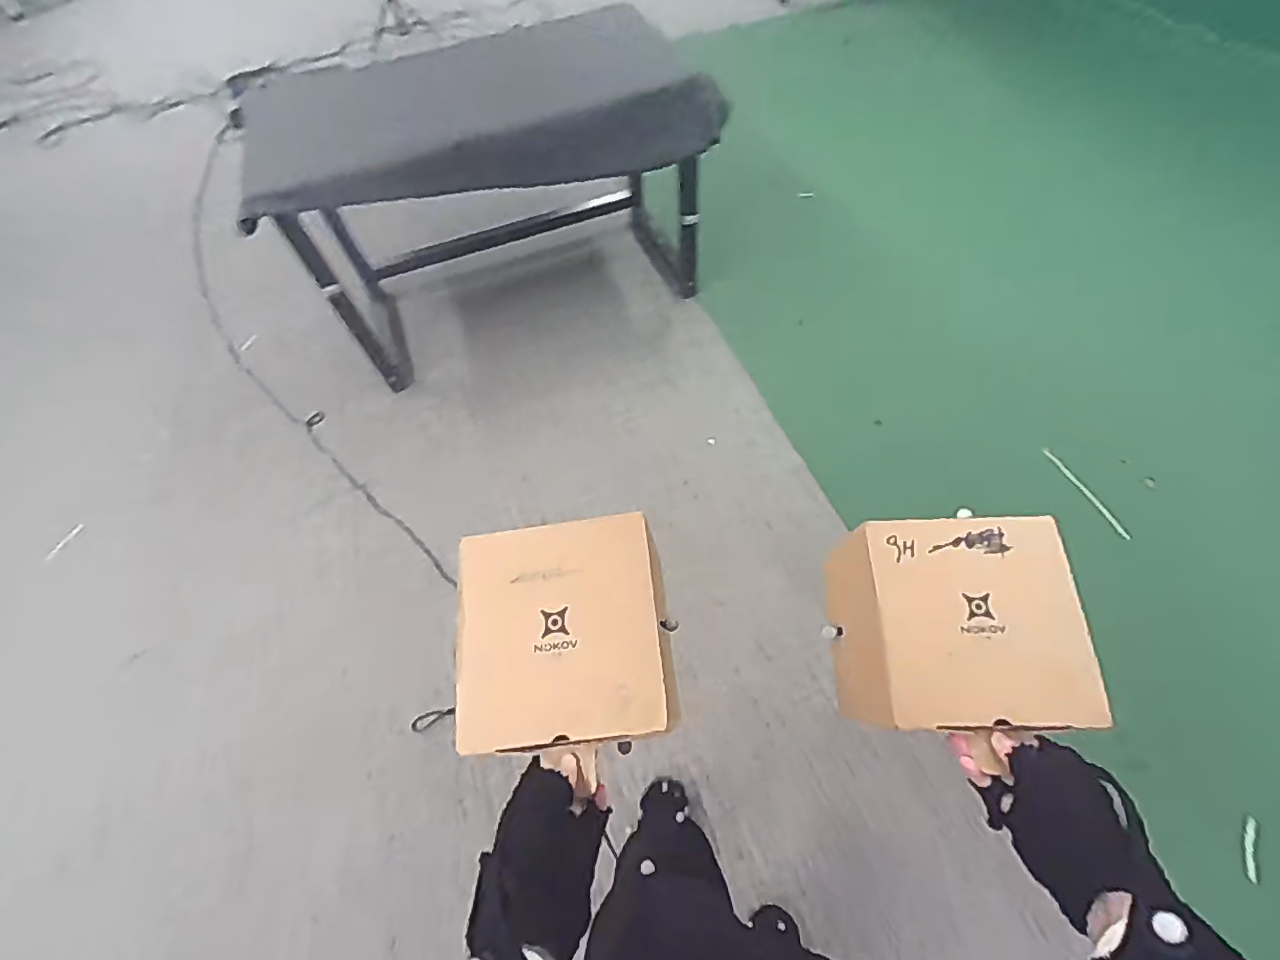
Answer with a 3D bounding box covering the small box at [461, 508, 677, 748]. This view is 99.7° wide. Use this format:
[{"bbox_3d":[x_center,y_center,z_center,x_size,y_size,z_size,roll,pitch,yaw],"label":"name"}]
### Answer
[{"bbox_3d":[-0.059,0.144,0.517,0.168,0.176,0.179,-9,67,2],"label":"small box"}]
